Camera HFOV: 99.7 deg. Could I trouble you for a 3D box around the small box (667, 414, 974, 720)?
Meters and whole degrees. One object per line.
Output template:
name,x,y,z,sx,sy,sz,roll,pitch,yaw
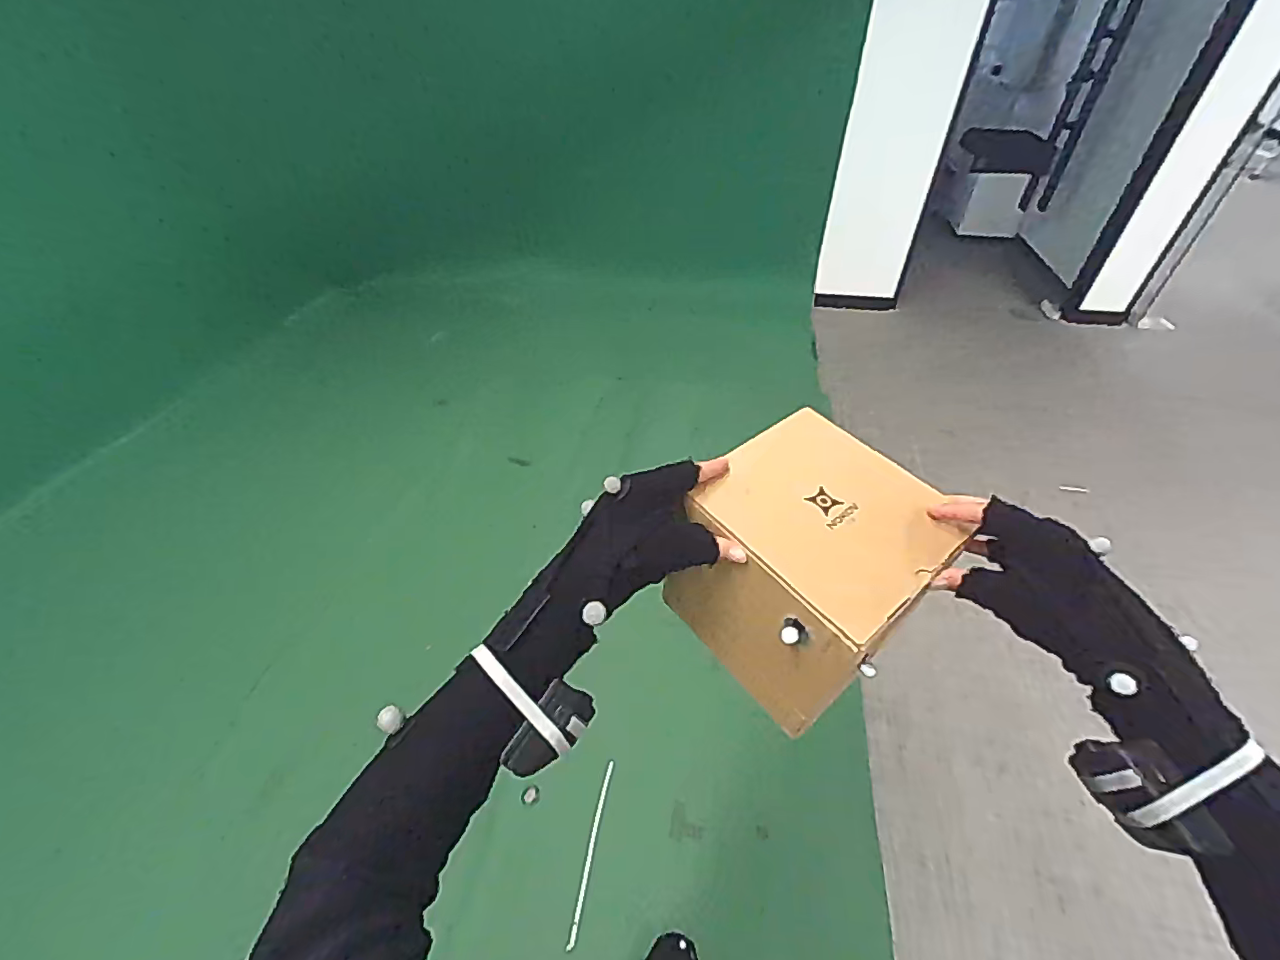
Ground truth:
small box,0.141,0.076,0.488,0.168,0.176,0.179,-29,57,-28
